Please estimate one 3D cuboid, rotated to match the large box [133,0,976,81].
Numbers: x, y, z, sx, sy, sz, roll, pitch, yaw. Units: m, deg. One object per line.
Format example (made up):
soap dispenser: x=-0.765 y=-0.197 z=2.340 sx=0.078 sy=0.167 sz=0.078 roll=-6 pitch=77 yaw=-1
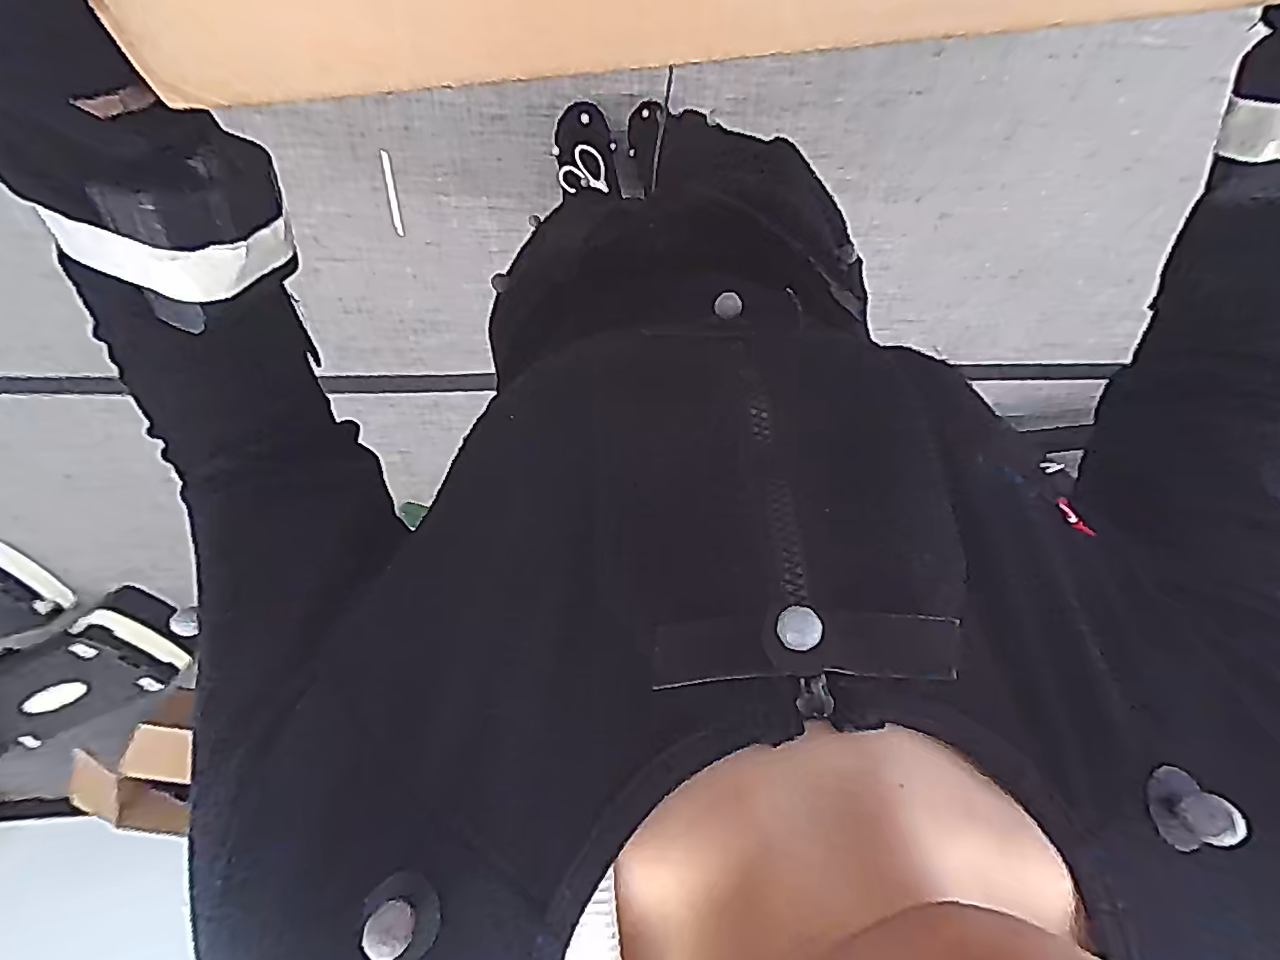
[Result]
large box: x=0.012 y=-0.371 z=0.143 sx=0.408 sy=0.320 sz=0.320 roll=-7 pitch=147 yaw=-2
